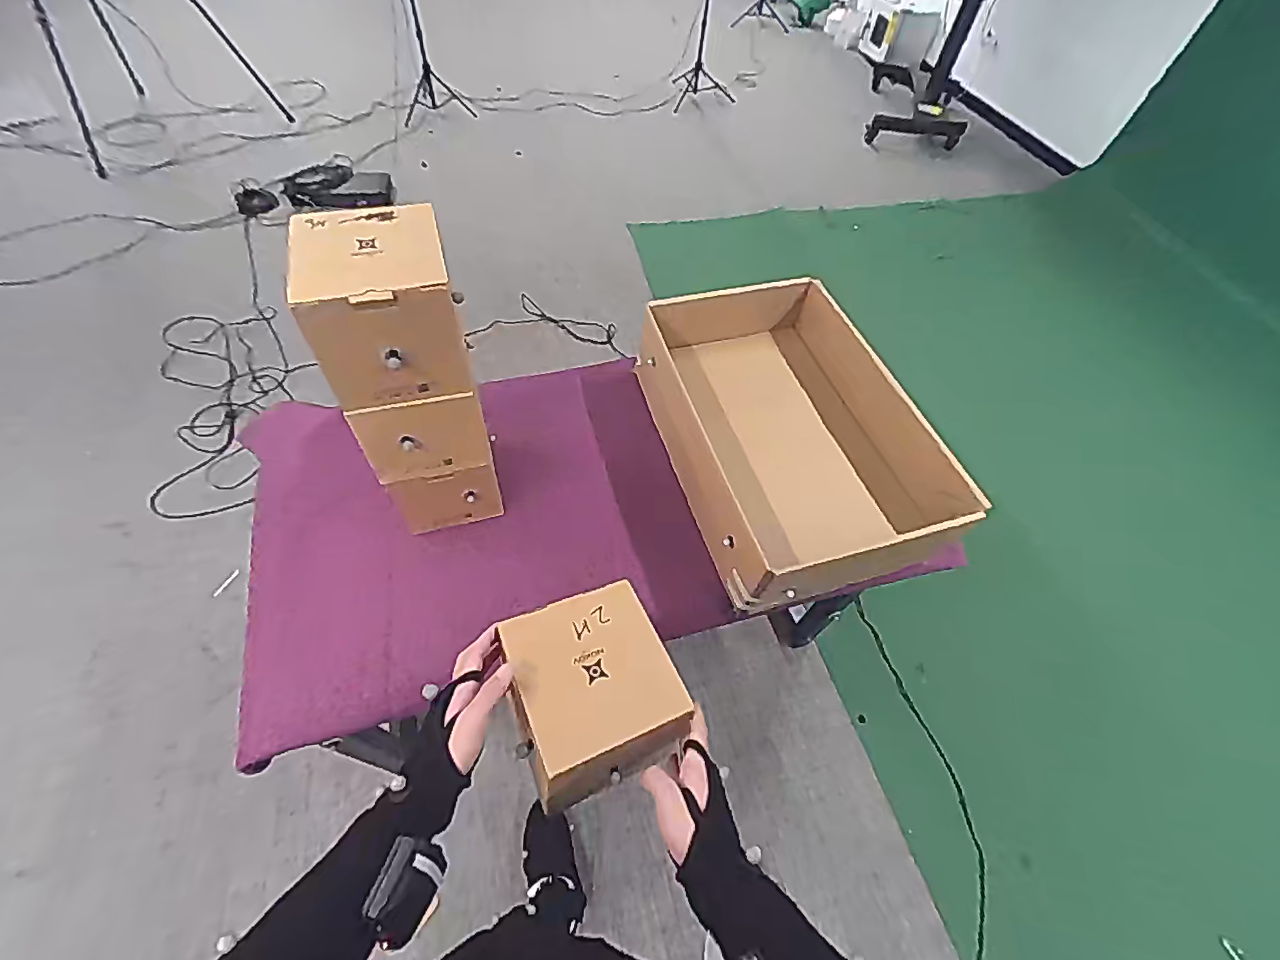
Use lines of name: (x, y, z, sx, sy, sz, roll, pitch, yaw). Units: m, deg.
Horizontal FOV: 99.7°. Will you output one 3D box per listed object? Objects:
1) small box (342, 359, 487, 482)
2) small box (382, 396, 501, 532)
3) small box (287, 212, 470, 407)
small box: (-0.336, -0.112, 0.822, 0.168, 0.176, 0.179, -12, 57, -14)
small box: (-0.349, -0.024, 0.957, 0.168, 0.176, 0.179, -11, 57, -14)
small box: (-0.323, -0.210, 0.691, 0.168, 0.176, 0.179, -12, 58, -15)
